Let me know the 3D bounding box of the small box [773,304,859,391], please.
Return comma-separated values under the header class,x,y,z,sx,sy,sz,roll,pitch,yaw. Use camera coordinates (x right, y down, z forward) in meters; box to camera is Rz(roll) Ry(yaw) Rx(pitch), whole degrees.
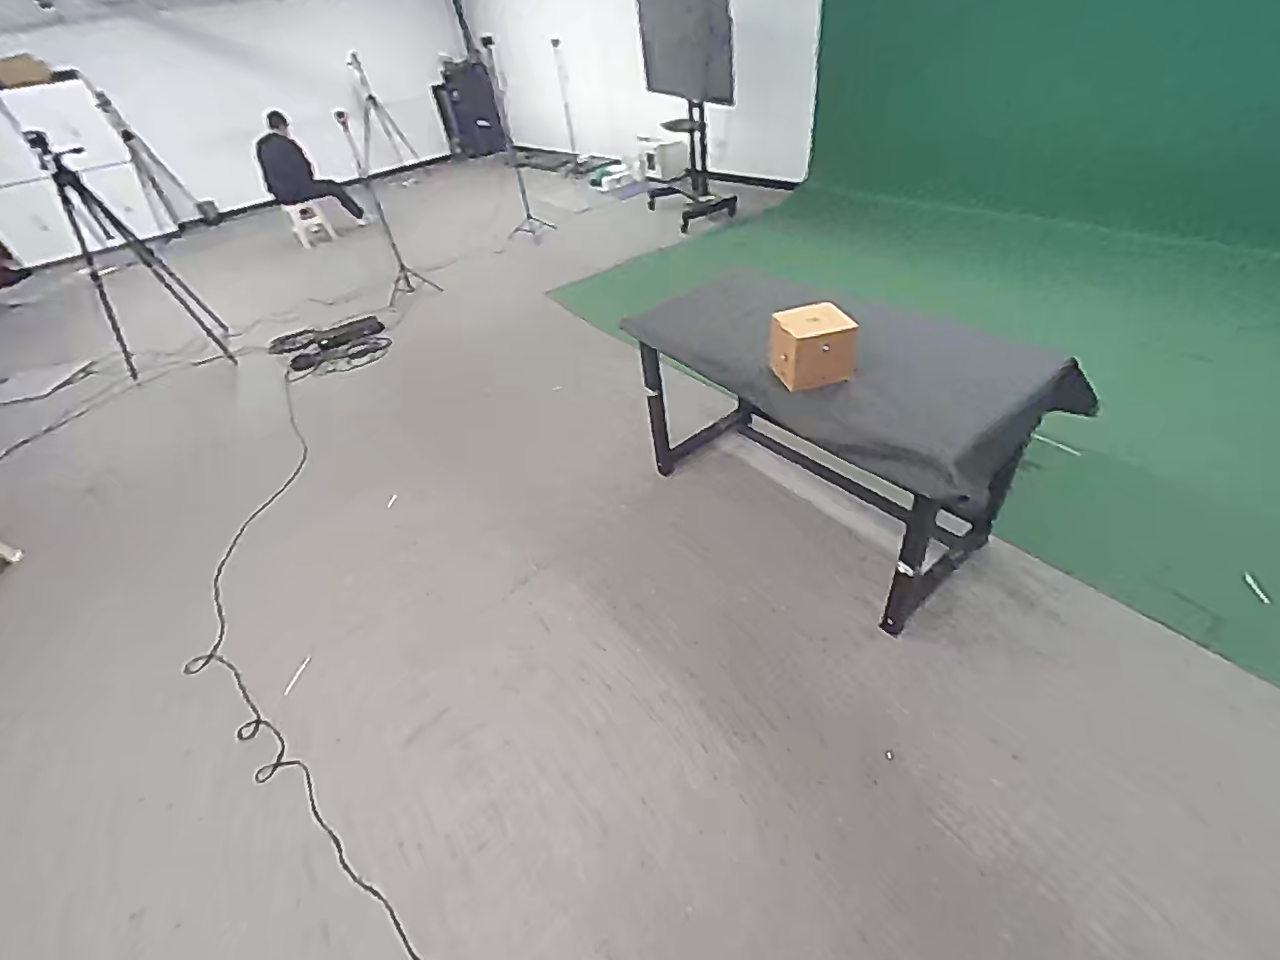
class,x,y,z,sx,sy,sz,roll,pitch,yaw
small box,0.484,-0.369,1.516,0.179,0.176,0.168,-12,42,-5
